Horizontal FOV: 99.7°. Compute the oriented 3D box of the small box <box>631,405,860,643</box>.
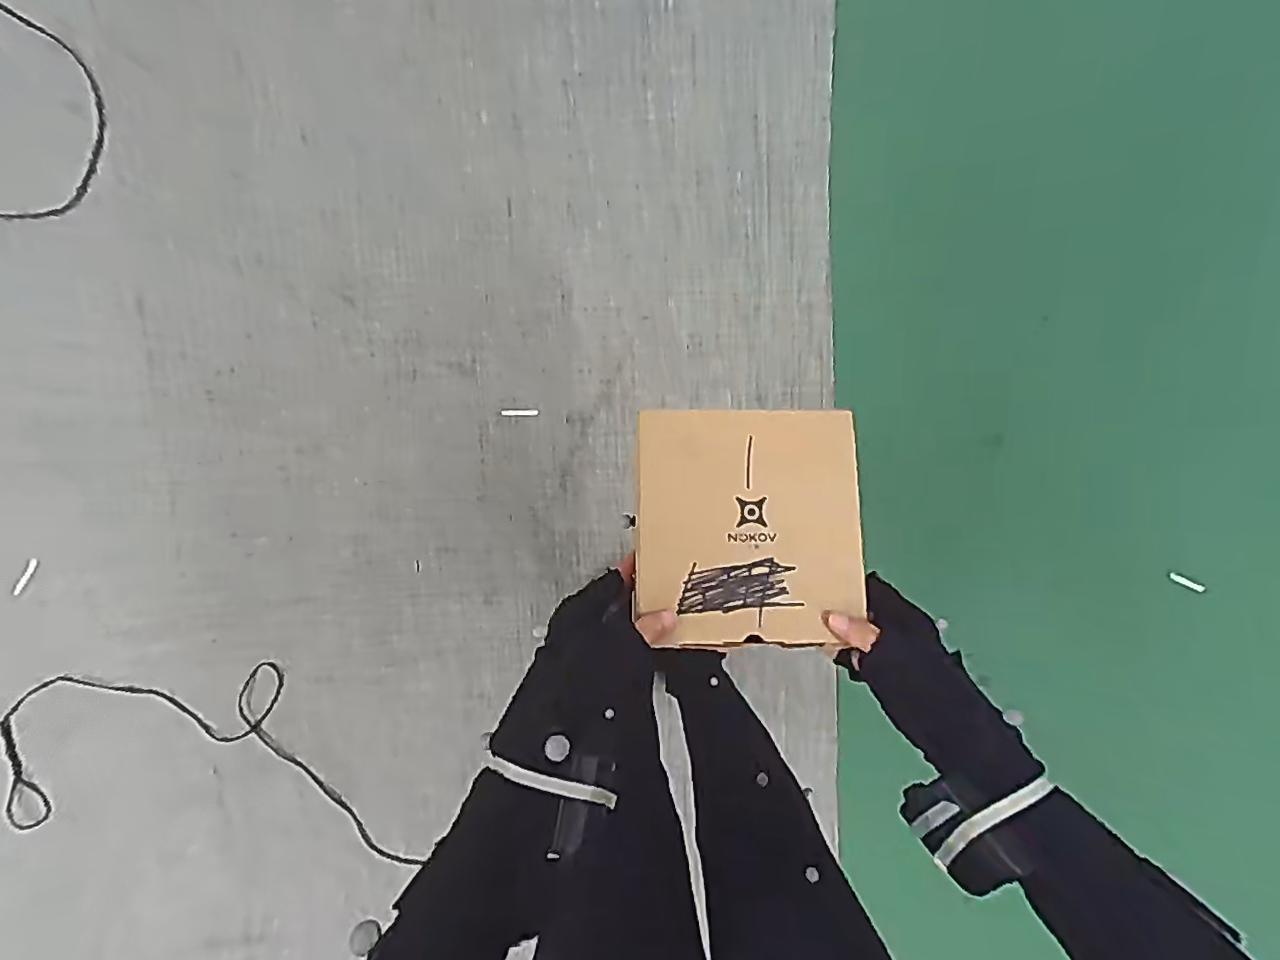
[{"bbox_3d":[0.077,0.044,0.479,0.168,0.176,0.179,1,79,-2],"label":"small box"}]
